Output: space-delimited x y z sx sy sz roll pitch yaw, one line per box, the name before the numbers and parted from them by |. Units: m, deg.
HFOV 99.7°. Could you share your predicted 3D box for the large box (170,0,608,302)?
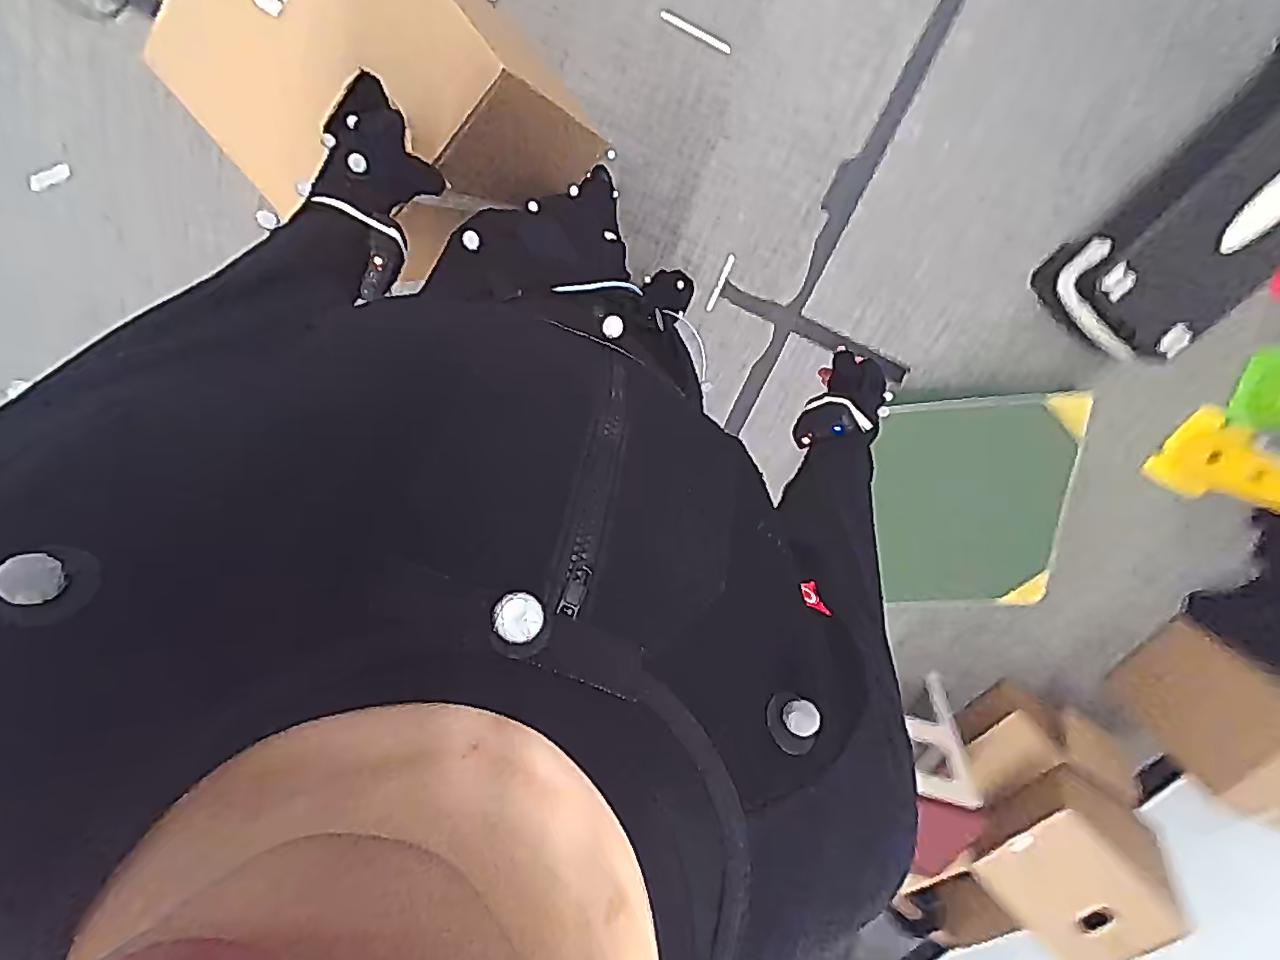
large box | -0.303 -0.492 0.758 0.320 0.408 0.320 -37 101 24
